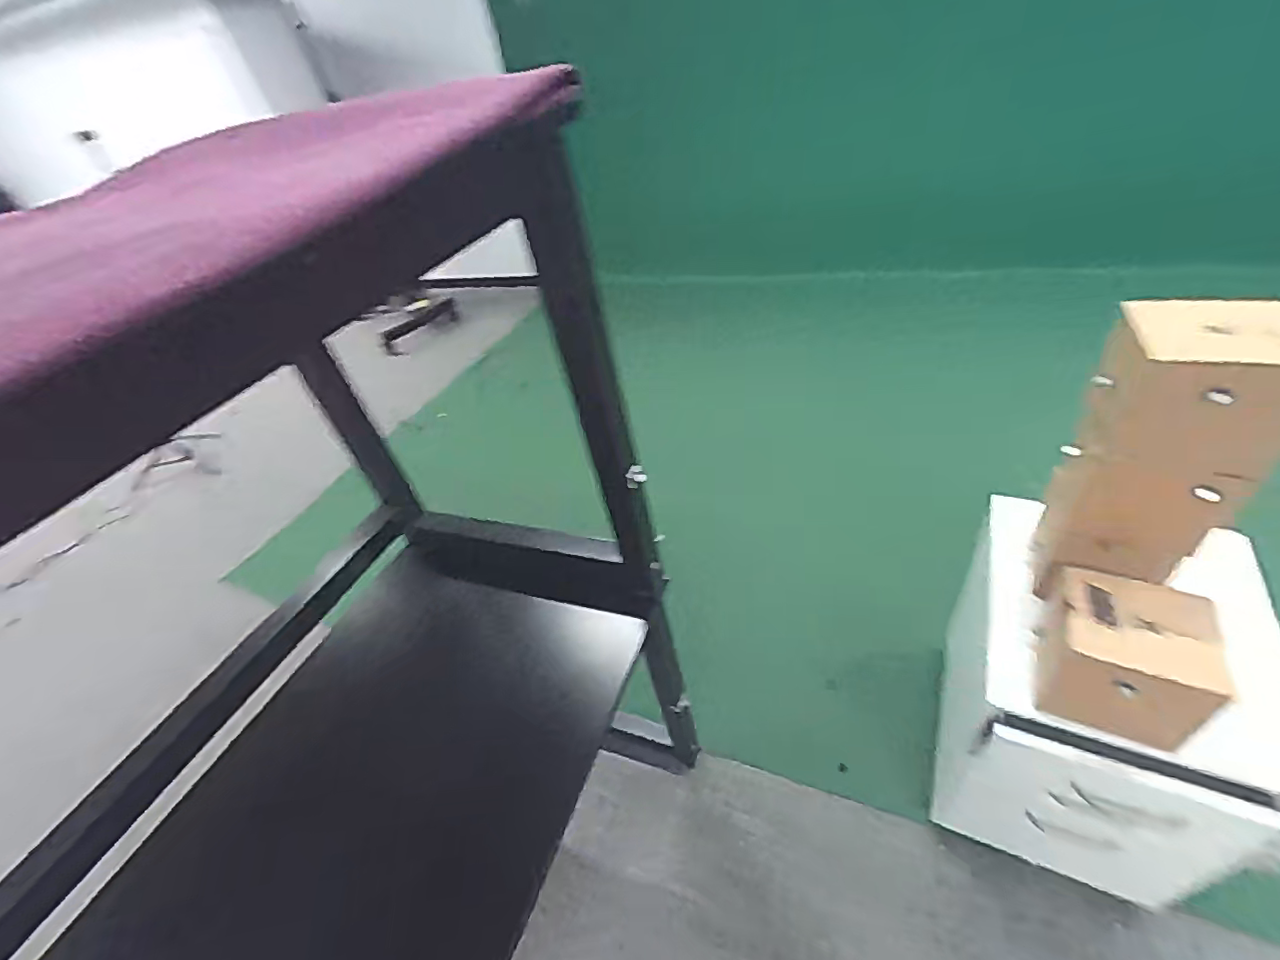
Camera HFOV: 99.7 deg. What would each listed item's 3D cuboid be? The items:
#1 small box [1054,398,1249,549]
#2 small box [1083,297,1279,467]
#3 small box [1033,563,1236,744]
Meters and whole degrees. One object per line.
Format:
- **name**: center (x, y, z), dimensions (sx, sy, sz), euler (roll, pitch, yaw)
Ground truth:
- **small box**: center (0.777, -0.016, 0.847), dimensions (0.179, 0.176, 0.168), euler (14, 47, 27)
- **small box**: center (0.743, -0.135, 0.739), dimensions (0.179, 0.176, 0.168), euler (8, 45, 22)
- **small box**: center (0.708, 0.256, 0.801), dimensions (0.179, 0.176, 0.168), euler (13, 46, 27)
